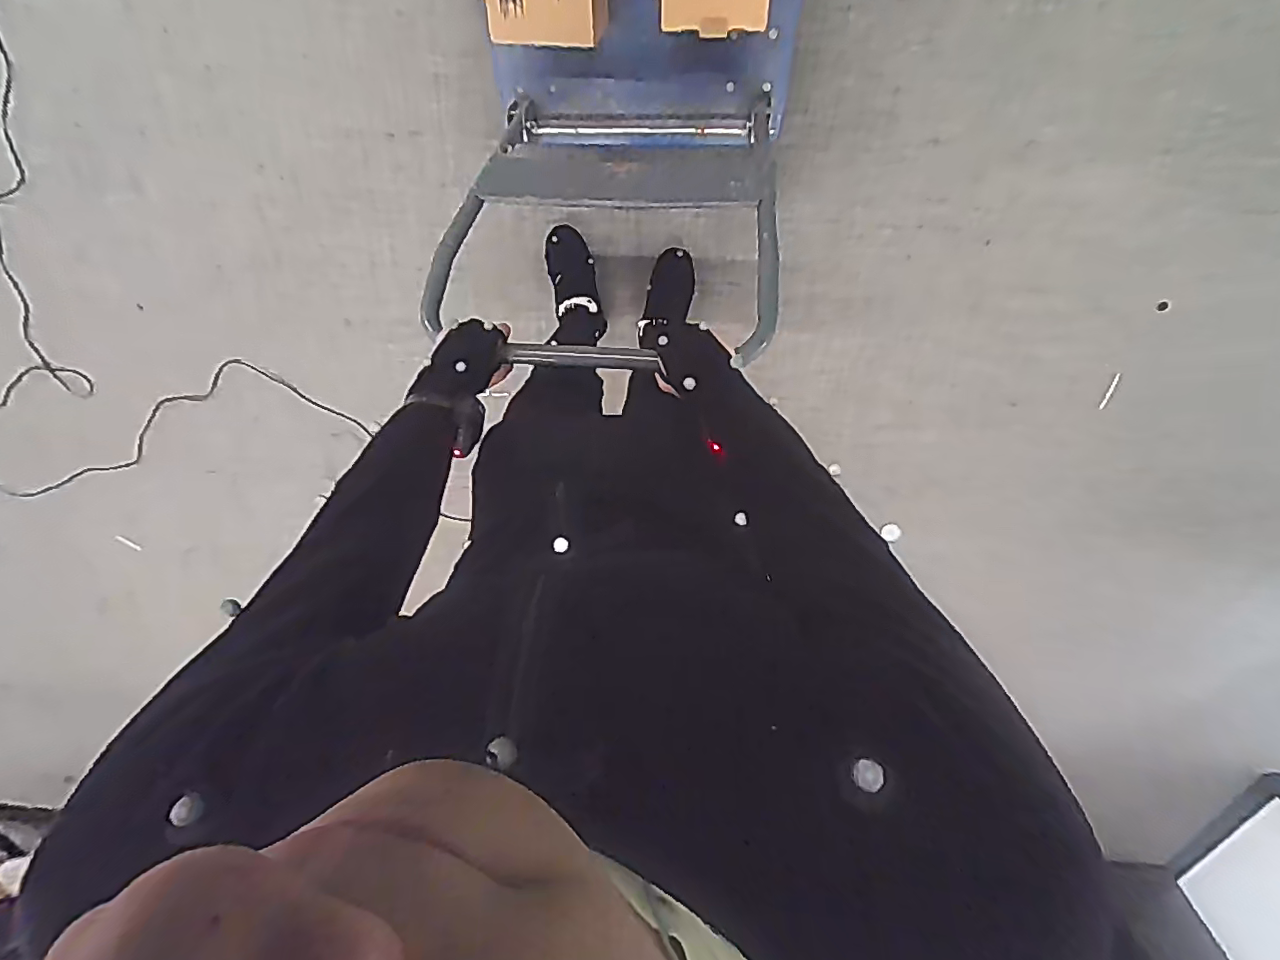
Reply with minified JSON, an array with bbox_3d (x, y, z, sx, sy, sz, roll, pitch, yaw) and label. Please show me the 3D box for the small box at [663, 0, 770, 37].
[{"bbox_3d":[0.123,-0.819,0.842,0.168,0.176,0.179,4,141,6],"label":"small box"}]
